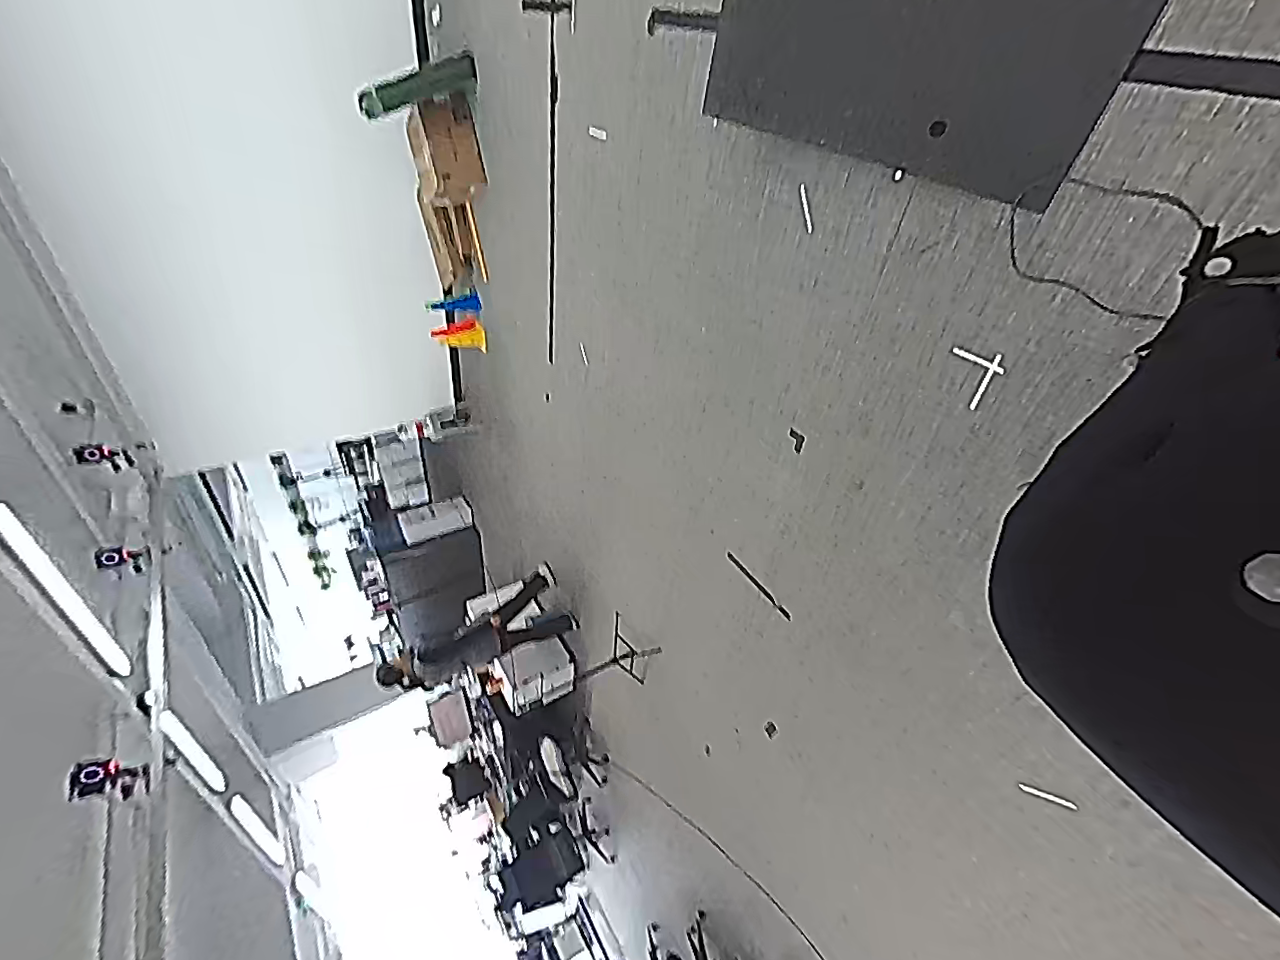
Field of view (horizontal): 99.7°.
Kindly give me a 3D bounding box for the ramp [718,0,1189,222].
[{"bbox_3d":[0.618,-1.013,1.290,0.991,0.206,0.509,46,140,39],"label":"ramp"}]
